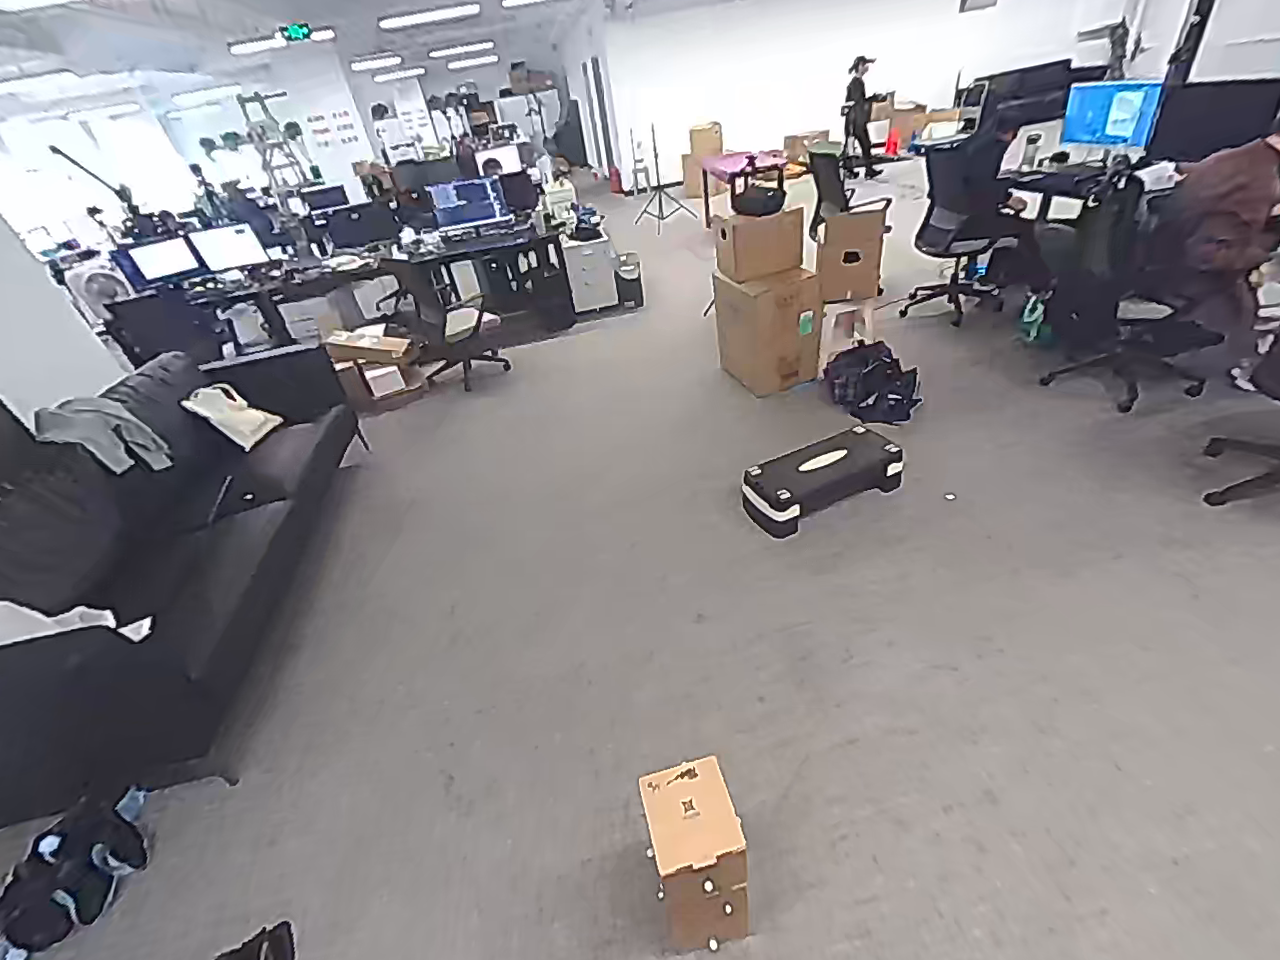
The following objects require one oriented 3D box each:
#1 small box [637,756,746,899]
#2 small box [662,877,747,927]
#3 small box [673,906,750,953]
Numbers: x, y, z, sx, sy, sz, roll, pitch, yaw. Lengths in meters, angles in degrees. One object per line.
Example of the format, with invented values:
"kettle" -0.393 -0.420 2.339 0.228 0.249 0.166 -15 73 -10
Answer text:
"small box" 0.102 0.687 1.061 0.168 0.176 0.179 -14 37 -6
"small box" 0.124 0.817 1.157 0.168 0.176 0.179 -13 35 -5
"small box" 0.148 0.946 1.252 0.168 0.176 0.179 -13 36 -3
